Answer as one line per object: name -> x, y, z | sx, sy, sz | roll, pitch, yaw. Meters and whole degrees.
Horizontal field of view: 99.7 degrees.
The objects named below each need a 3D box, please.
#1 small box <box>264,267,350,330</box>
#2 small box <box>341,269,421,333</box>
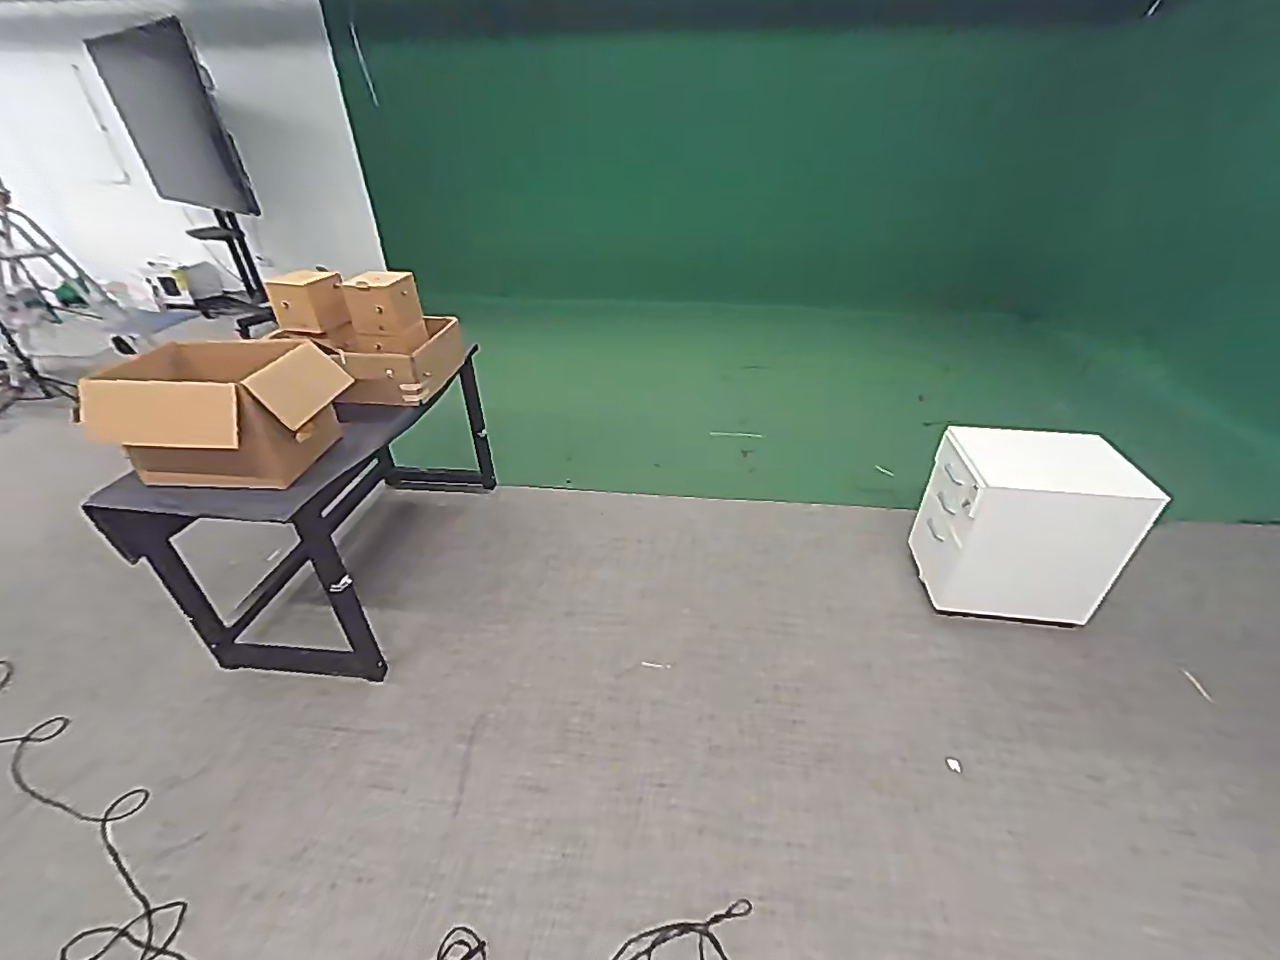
small box -> -1.153, -0.636, 1.891 | 0.168, 0.176, 0.179 | 9, 35, 11
small box -> -0.884, -0.619, 1.868 | 0.168, 0.176, 0.179 | 6, 35, 8
